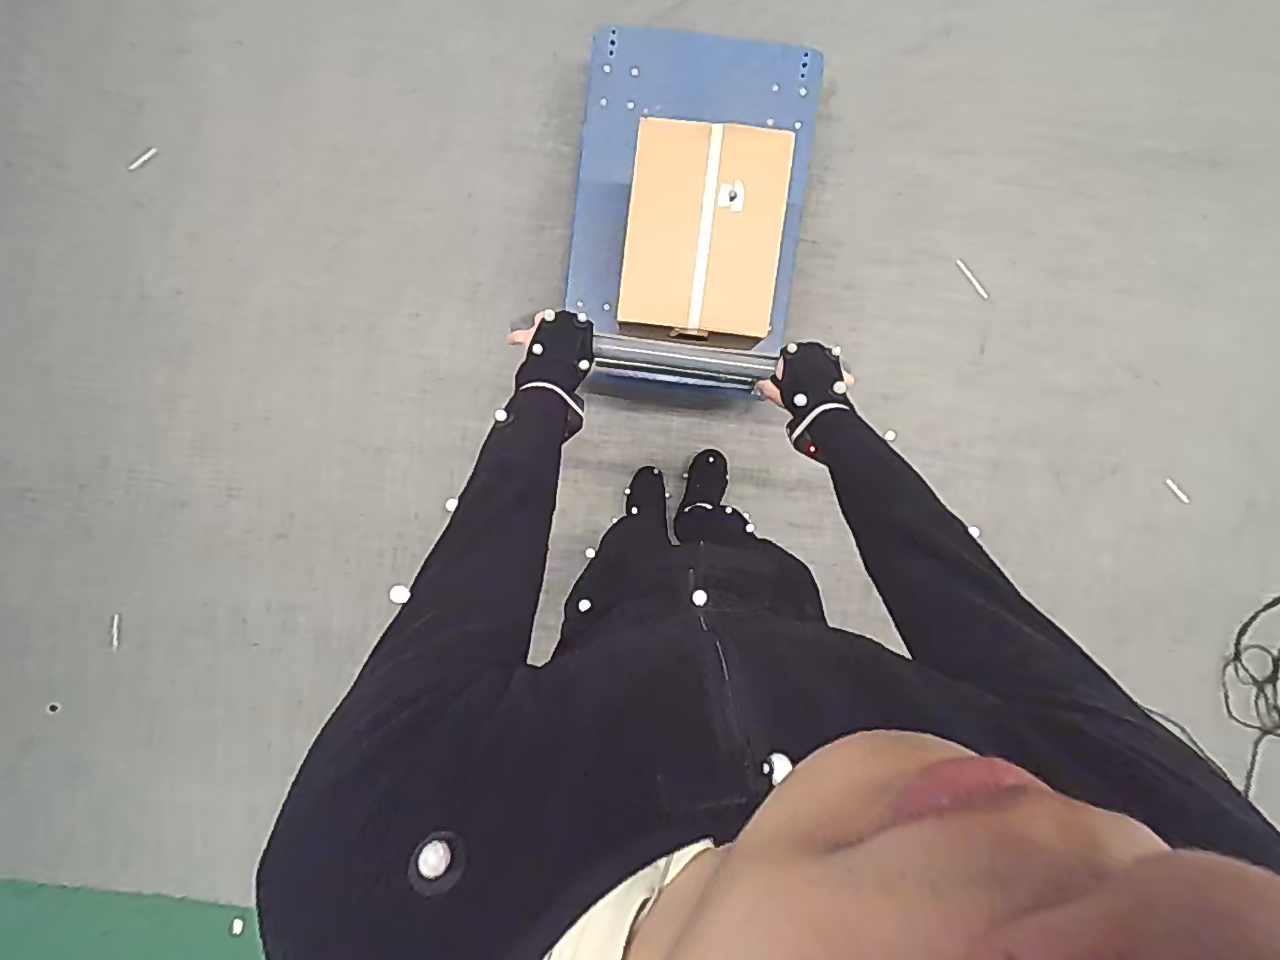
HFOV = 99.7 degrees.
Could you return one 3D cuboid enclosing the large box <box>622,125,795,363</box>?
[{"bbox_3d":[0.141,-0.500,1.228,0.320,0.320,0.408,7,94,0],"label":"large box"}]
